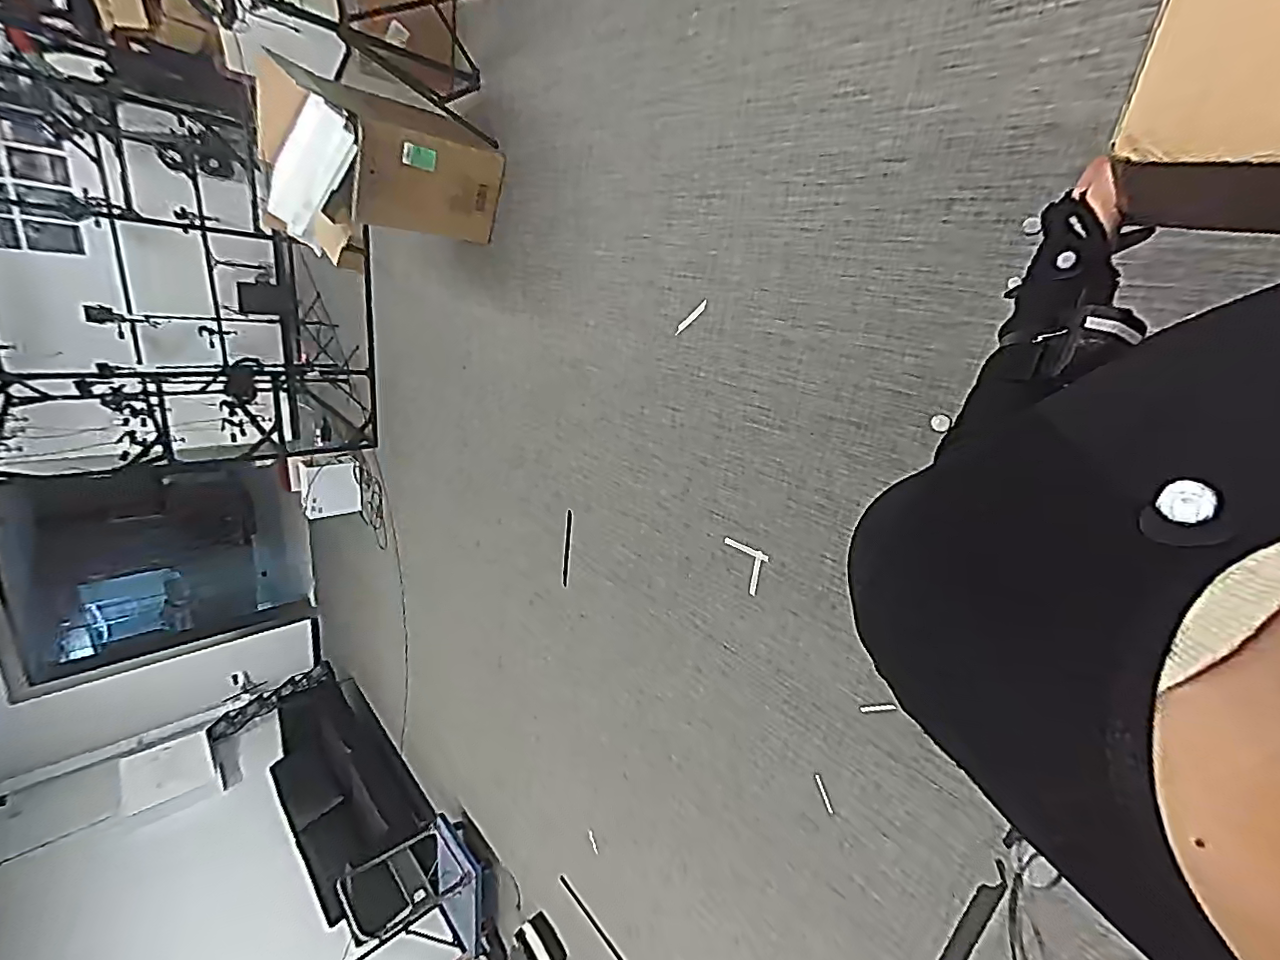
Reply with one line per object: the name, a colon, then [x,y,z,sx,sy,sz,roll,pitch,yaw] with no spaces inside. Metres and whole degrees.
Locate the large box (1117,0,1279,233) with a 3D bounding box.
large box: [0.485,-0.267,0.197,0.408,0.320,0.320,23,119,34]
